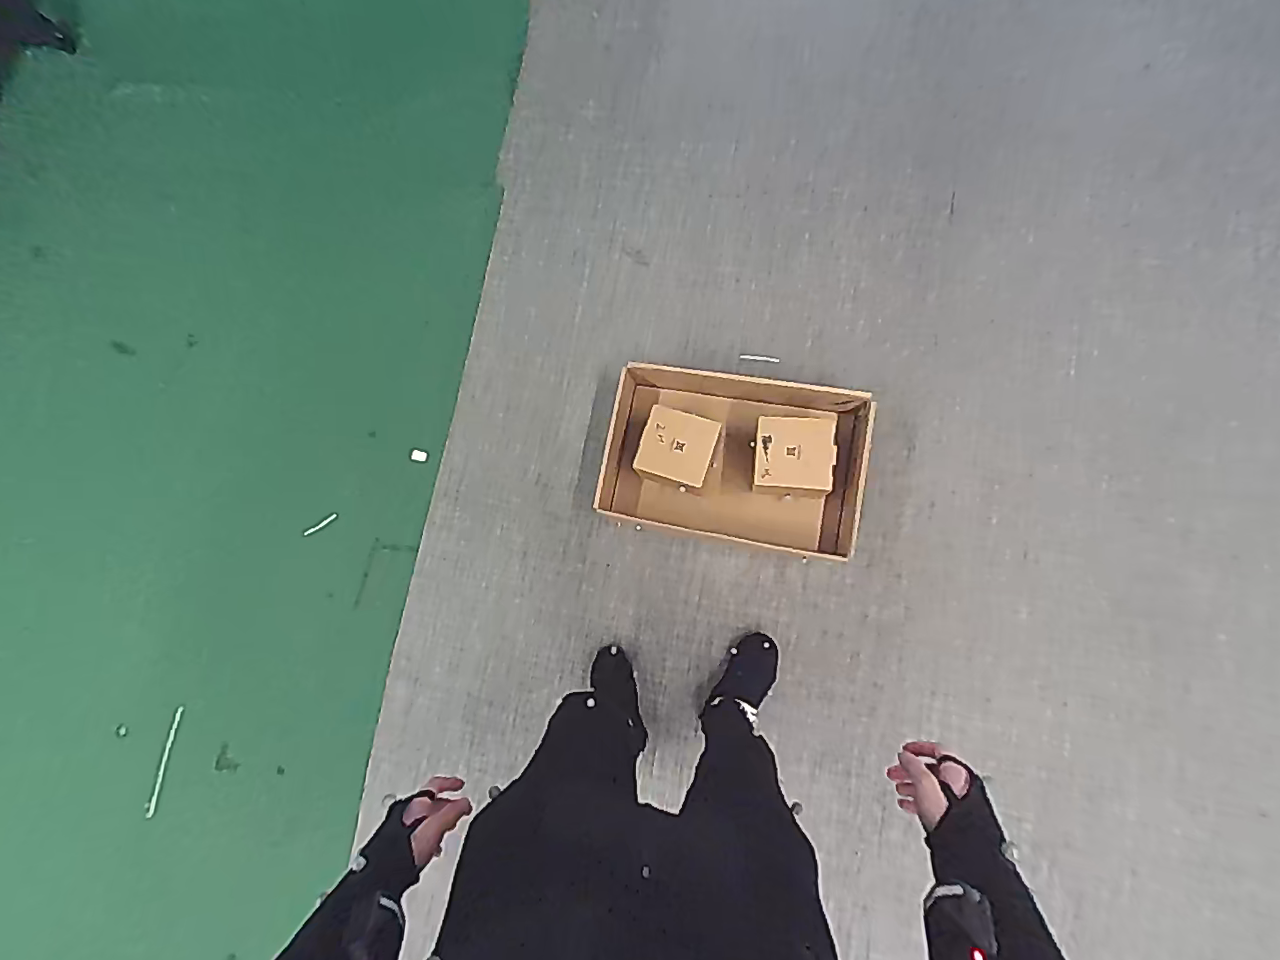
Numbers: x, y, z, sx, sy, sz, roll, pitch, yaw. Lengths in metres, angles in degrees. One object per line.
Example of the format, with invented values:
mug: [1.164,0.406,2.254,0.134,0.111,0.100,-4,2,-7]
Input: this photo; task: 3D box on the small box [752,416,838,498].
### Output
small box: [0.368,-0.050,1.304,0.179,0.176,0.168,5,82,11]
